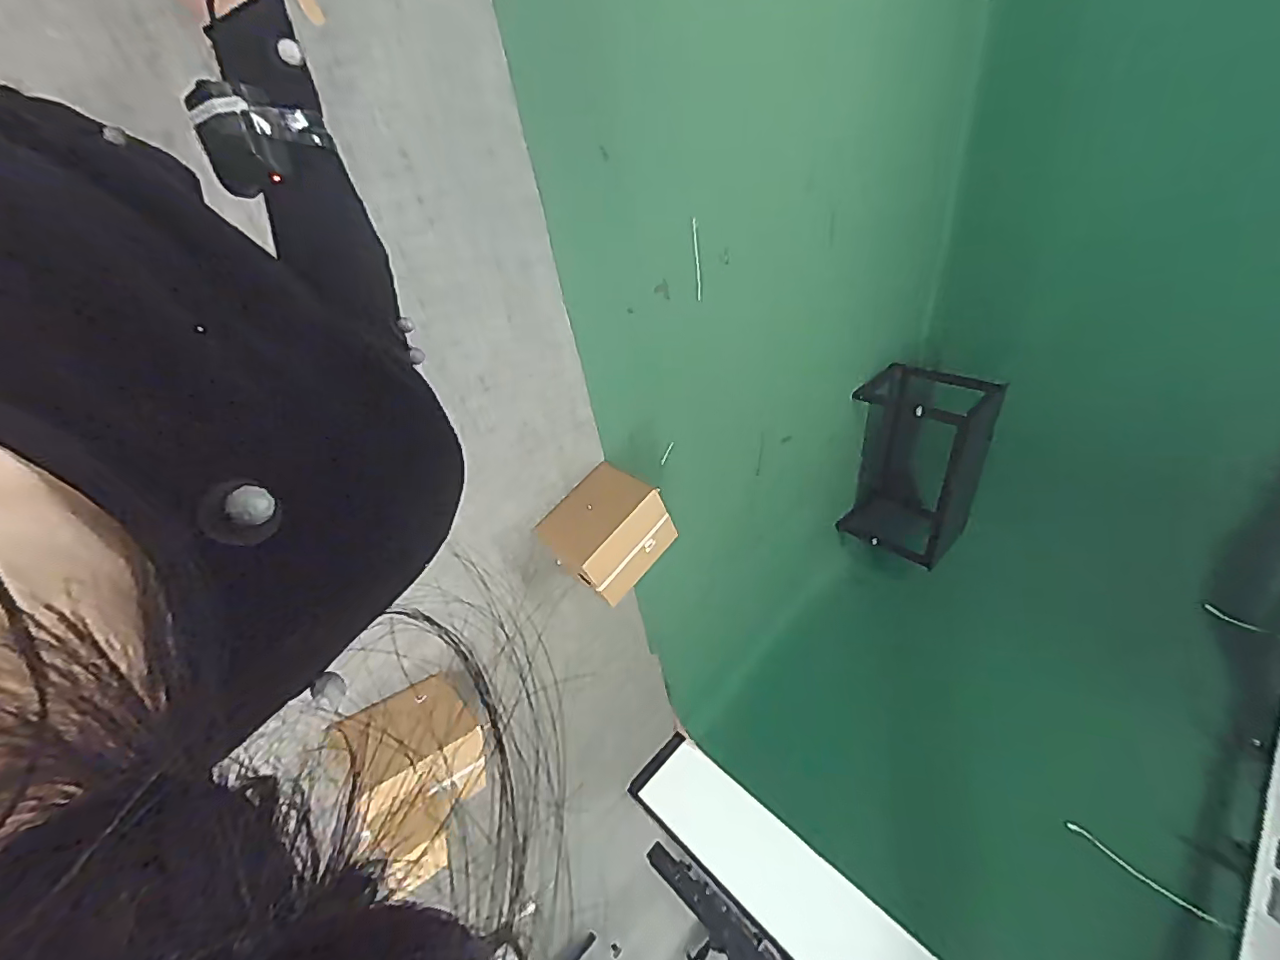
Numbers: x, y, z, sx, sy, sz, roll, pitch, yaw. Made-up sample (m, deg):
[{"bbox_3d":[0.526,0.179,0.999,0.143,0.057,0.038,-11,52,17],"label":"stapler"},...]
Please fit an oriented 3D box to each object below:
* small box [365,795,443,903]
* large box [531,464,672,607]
[{"bbox_3d":[-0.708,1.100,1.626,0.168,0.176,0.179,-17,124,-41],"label":"small box"},{"bbox_3d":[-0.145,0.210,2.129,0.408,0.320,0.320,-47,139,-20],"label":"large box"}]
